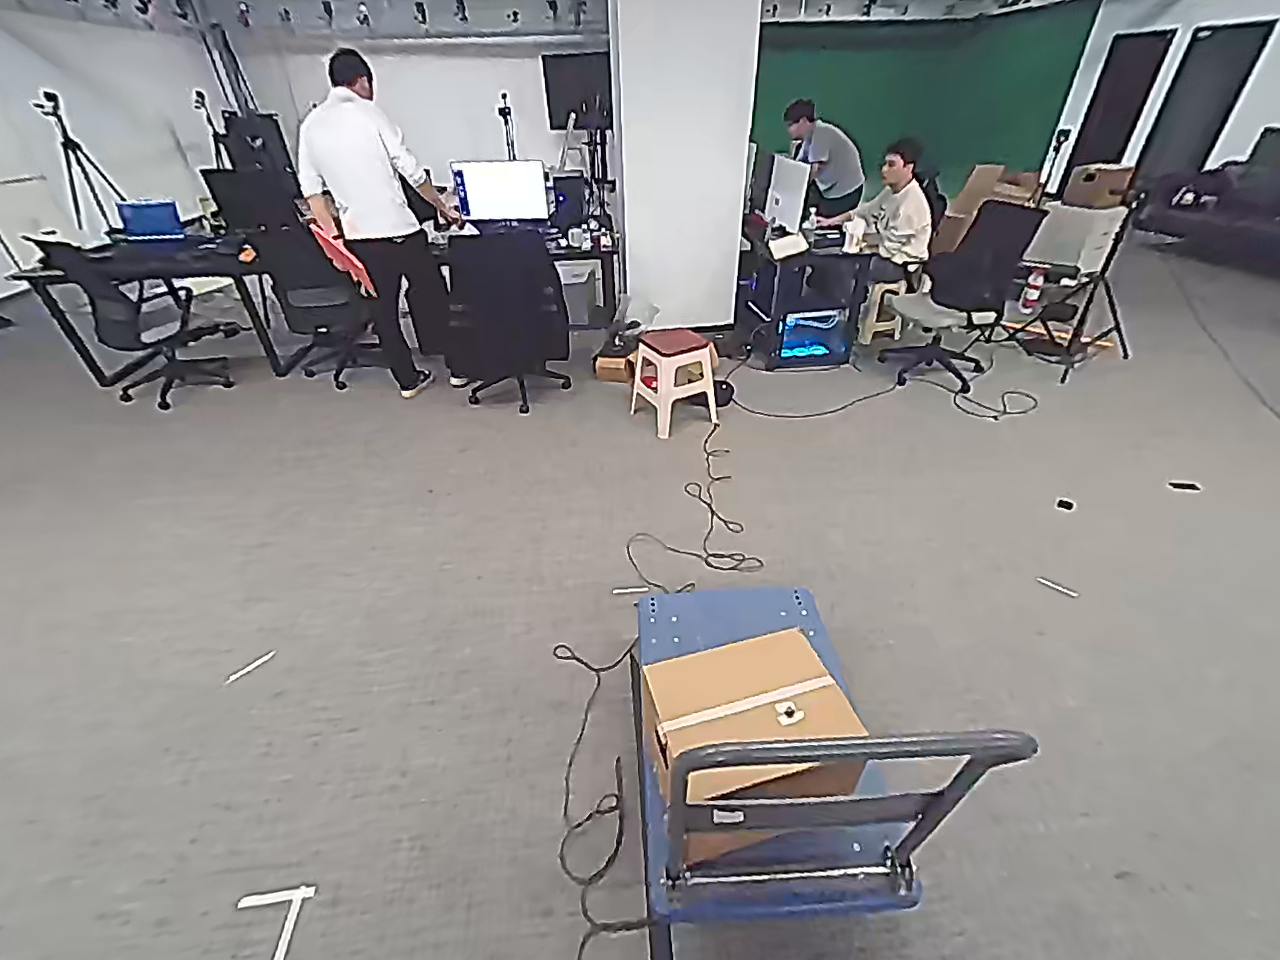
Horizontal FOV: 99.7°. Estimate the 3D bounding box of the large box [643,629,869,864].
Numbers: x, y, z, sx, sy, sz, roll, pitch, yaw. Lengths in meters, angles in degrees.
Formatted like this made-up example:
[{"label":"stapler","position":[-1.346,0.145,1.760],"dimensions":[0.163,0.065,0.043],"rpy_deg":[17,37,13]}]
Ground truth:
[{"label":"large box","position":[0.240,0.607,1.259],"dimensions":[0.408,0.320,0.320],"rpy_deg":[-10,37,-13]}]
